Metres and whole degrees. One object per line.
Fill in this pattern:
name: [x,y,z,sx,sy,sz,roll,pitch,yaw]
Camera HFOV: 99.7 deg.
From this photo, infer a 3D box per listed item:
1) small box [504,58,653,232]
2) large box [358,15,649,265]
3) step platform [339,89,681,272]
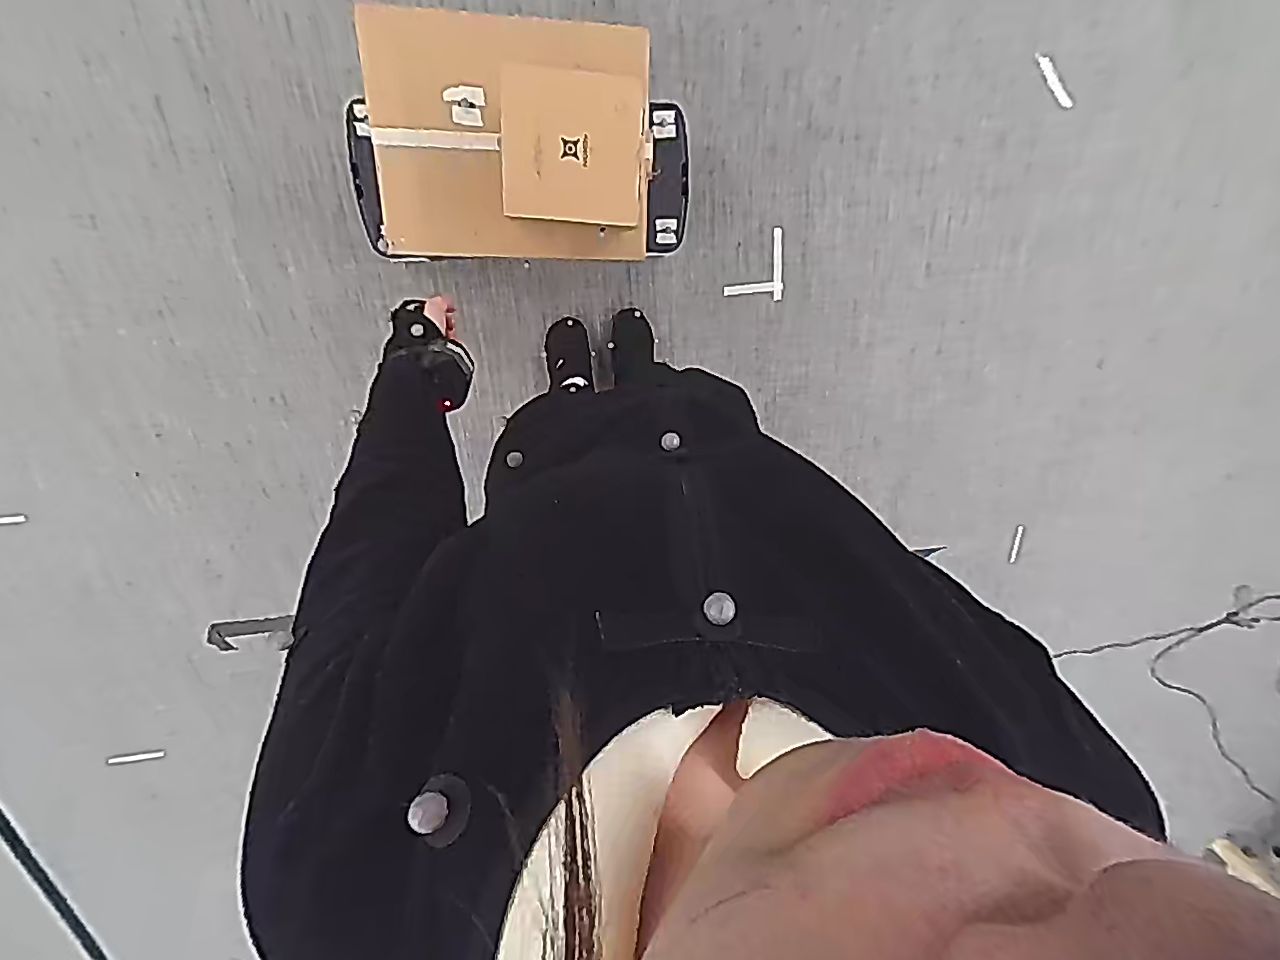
small box: [-0.087,-0.434,0.731,0.179,0.176,0.168,1,112,-9]
large box: [-0.201,-0.543,0.936,0.408,0.320,0.320,-2,111,-7]
step platform: [-0.254,-0.618,1.157,0.684,0.204,0.286,1,111,-8]
